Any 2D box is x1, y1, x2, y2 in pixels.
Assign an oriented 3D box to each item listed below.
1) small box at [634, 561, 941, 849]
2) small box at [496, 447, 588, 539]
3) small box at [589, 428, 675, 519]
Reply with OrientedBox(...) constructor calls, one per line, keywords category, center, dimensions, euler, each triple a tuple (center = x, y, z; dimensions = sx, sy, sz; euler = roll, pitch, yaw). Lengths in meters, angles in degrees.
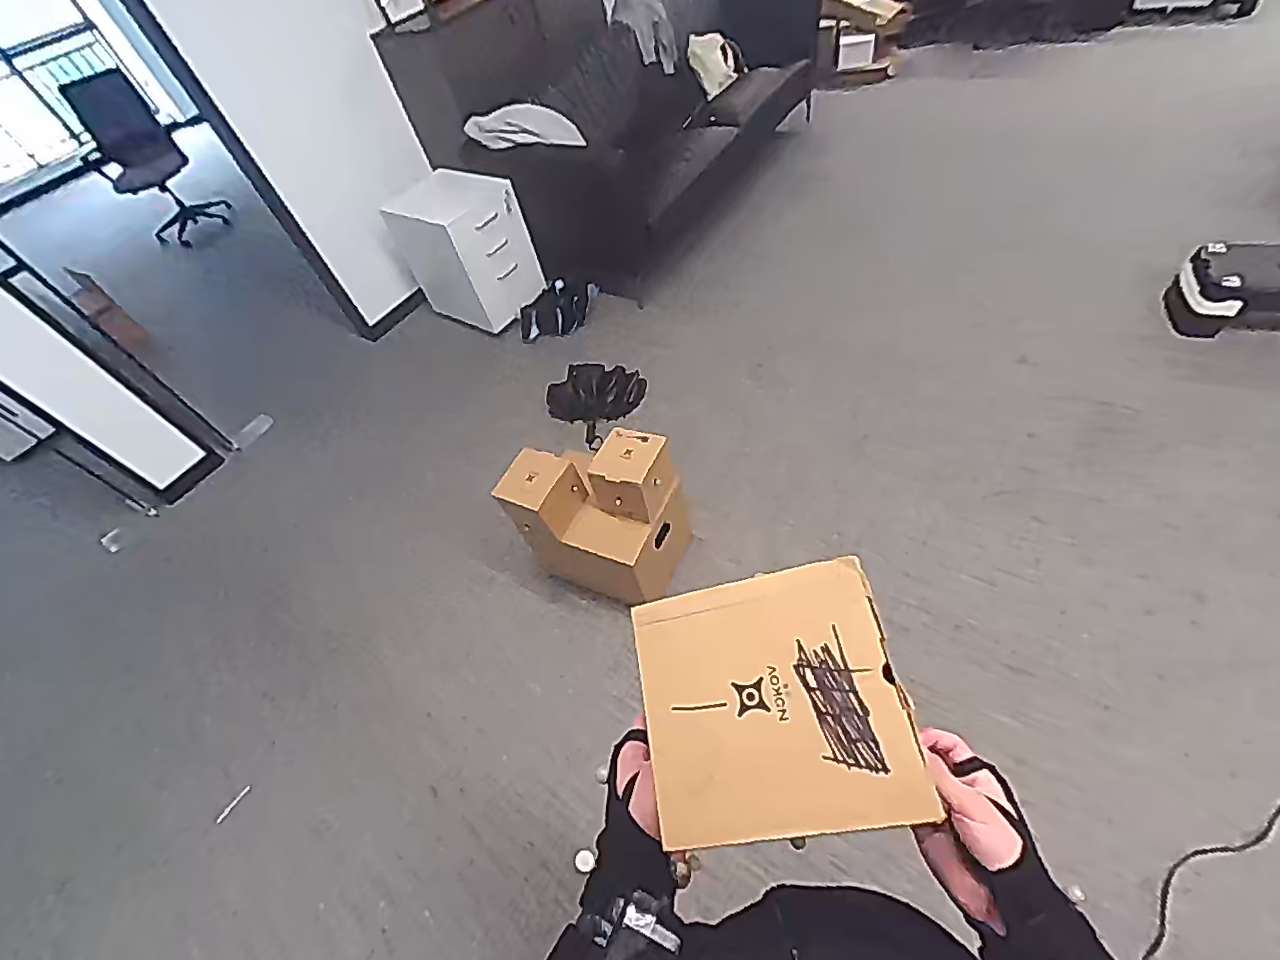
OrientedBox(category="small box", center=(0.112, 0.181, 0.441), dimensions=(0.179, 0.176, 0.168), euler=(-16, 62, 14))
OrientedBox(category="small box", center=(-0.266, 0.038, 1.529), dimensions=(0.168, 0.176, 0.179), euler=(16, 62, 26))
OrientedBox(category="small box", center=(-0.013, -0.016, 1.503), dimensions=(0.168, 0.176, 0.179), euler=(14, 56, 23))
